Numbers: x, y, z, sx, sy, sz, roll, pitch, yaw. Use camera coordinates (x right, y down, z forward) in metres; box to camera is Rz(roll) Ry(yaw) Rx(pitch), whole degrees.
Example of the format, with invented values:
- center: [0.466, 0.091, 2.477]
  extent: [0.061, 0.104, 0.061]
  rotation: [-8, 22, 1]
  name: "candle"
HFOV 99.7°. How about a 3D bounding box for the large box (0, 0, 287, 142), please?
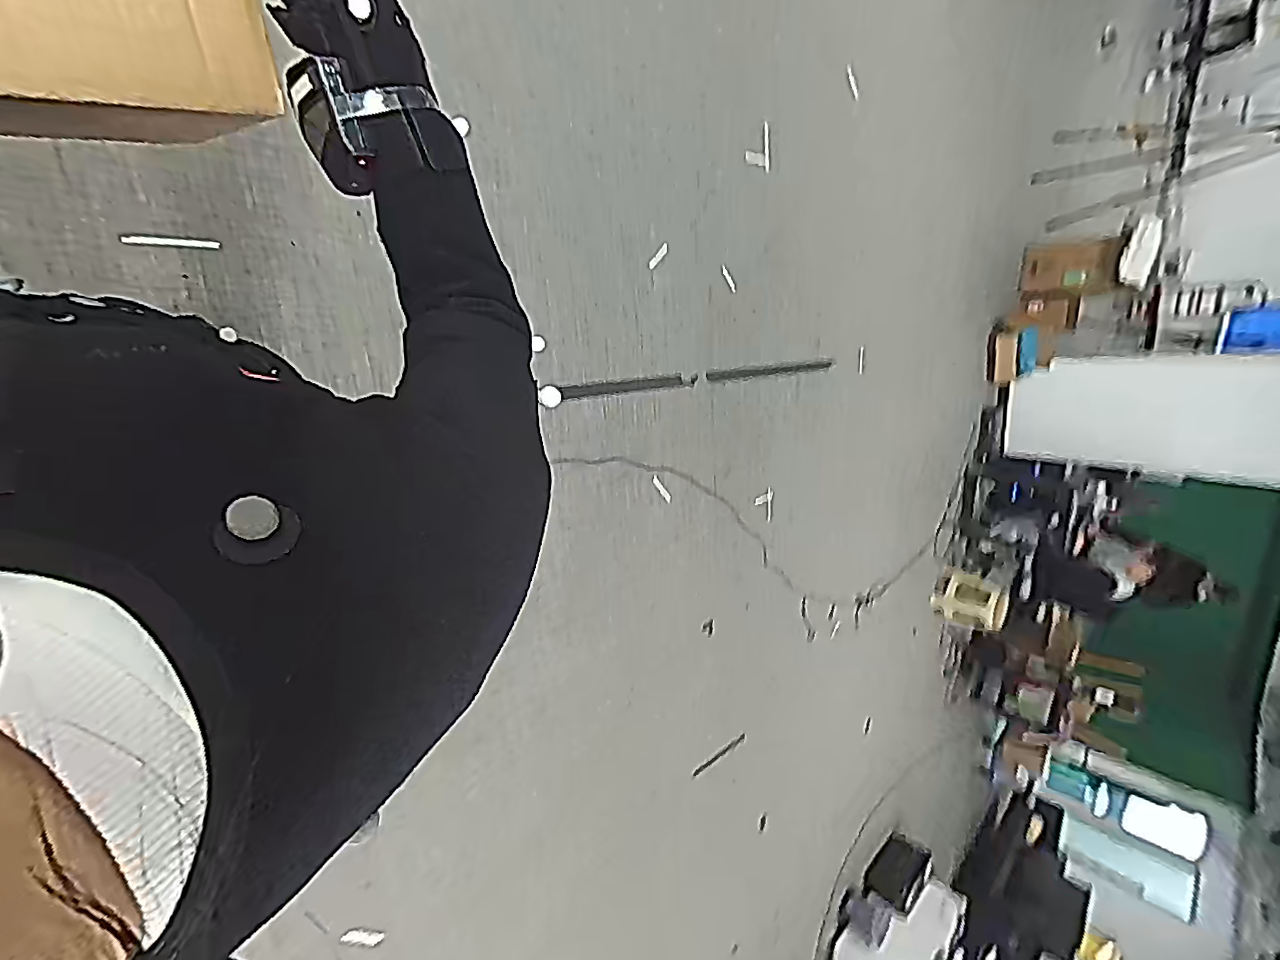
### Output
- center: [-0.485, -0.364, 0.268]
  extent: [0.408, 0.320, 0.320]
  rotation: [-25, 128, -38]
  name: "large box"
